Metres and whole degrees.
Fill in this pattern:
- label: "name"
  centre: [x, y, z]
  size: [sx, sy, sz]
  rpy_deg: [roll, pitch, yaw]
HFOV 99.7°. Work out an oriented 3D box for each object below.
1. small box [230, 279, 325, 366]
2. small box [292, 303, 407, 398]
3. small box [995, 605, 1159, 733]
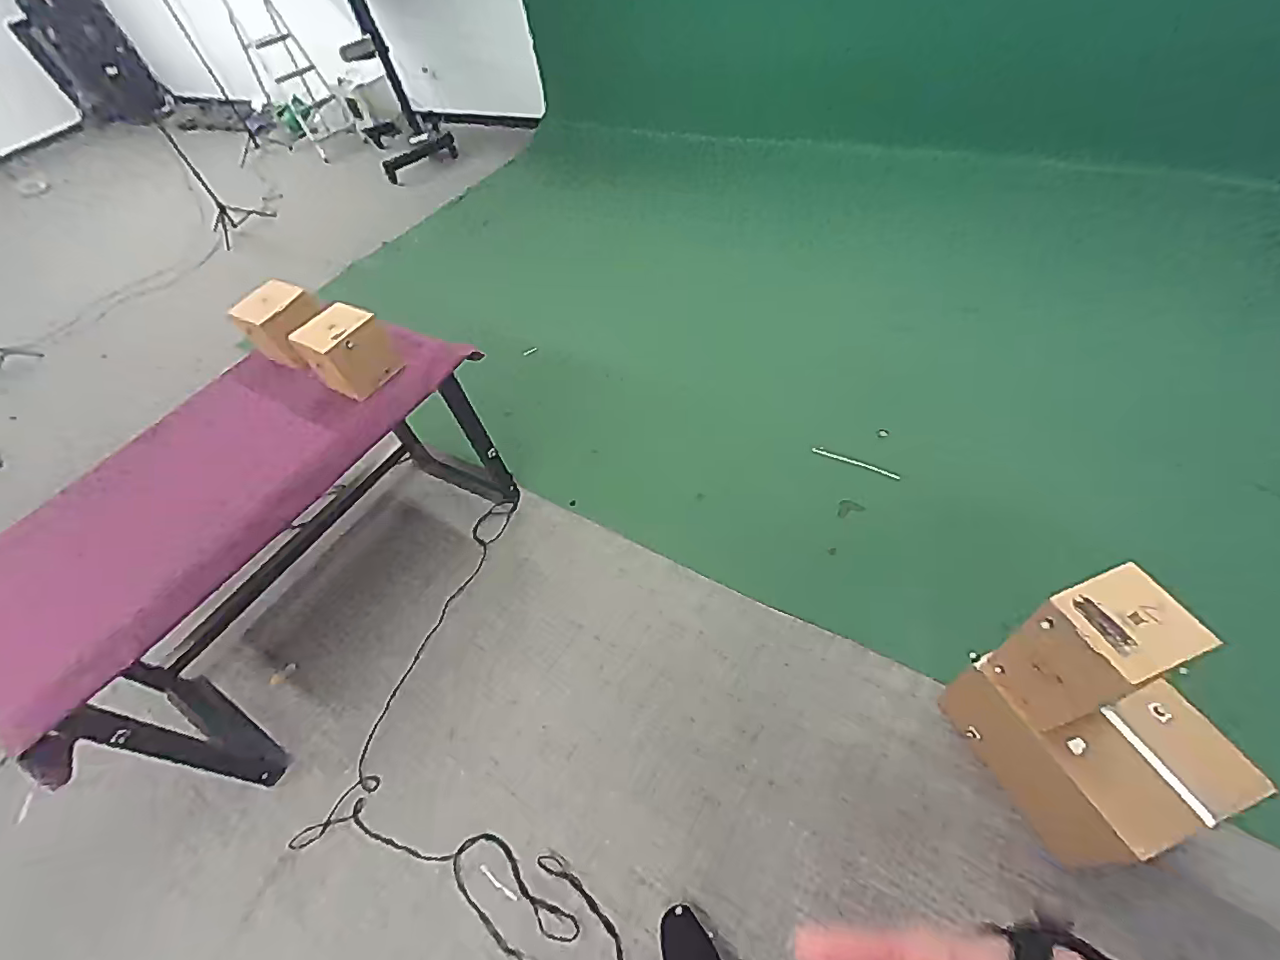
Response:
- label: "small box"
  centre: [-1.036, -0.459, 1.590]
  size: [0.179, 0.176, 0.168]
  rpy_deg: [22, 62, 25]
- label: "small box"
  centre: [-0.772, -0.346, 1.450]
  size: [0.179, 0.176, 0.168]
  rpy_deg: [22, 60, 28]
- label: "small box"
  centre: [0.862, 0.387, 1.095]
  size: [0.179, 0.176, 0.168]
  rpy_deg: [-19, 52, -5]
